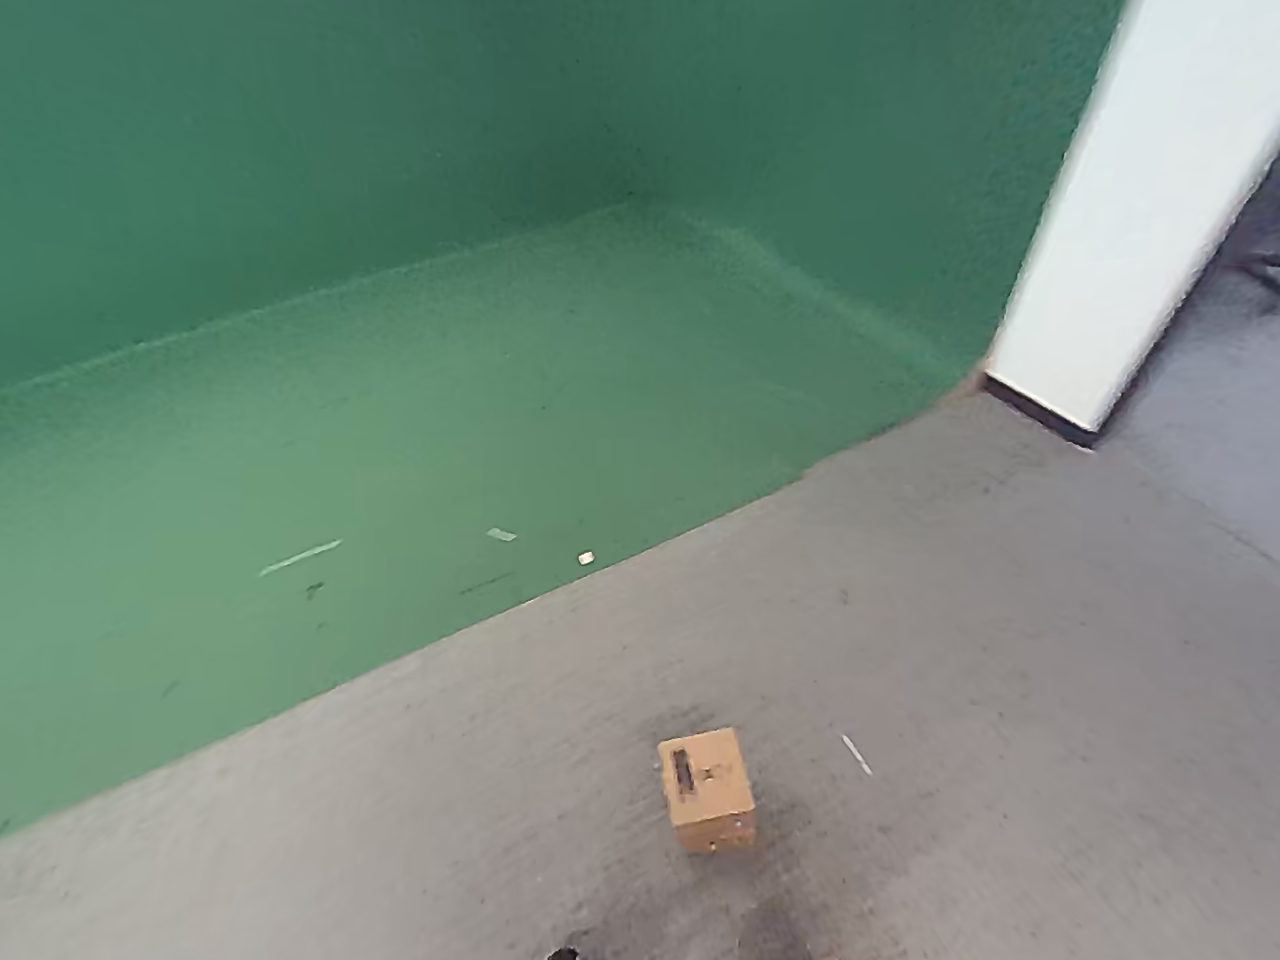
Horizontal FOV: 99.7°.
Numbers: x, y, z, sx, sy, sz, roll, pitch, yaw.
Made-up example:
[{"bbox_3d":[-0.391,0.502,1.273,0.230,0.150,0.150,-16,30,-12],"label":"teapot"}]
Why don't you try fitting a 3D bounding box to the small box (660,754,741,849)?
[{"bbox_3d":[0.147,0.782,1.309,0.179,0.176,0.168,-5,48,3],"label":"small box"}]
